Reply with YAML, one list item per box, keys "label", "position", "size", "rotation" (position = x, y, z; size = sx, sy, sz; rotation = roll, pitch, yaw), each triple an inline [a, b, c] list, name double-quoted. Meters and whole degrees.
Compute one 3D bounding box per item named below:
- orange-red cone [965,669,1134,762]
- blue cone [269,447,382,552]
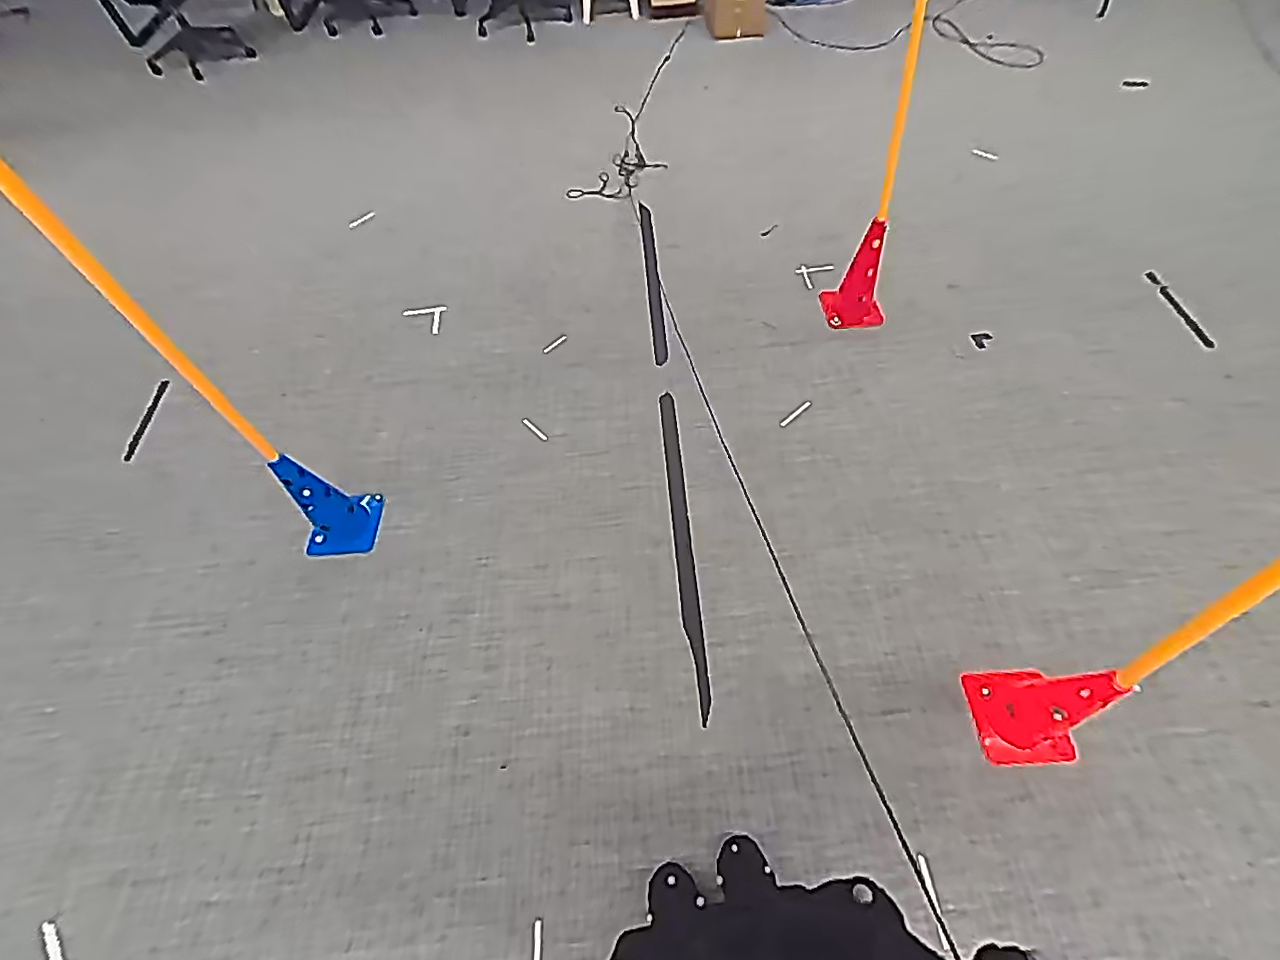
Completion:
- label: "orange-red cone"
  position: [0.857, 0.445, 1.093]
  size: [0.198, 0.360, 0.199]
  rotation: [-3, 58, 3]
- label: "blue cone"
  position: [-0.898, 0.041, 1.498]
  size: [0.193, 0.380, 0.192]
  rotation: [-2, 57, 2]
